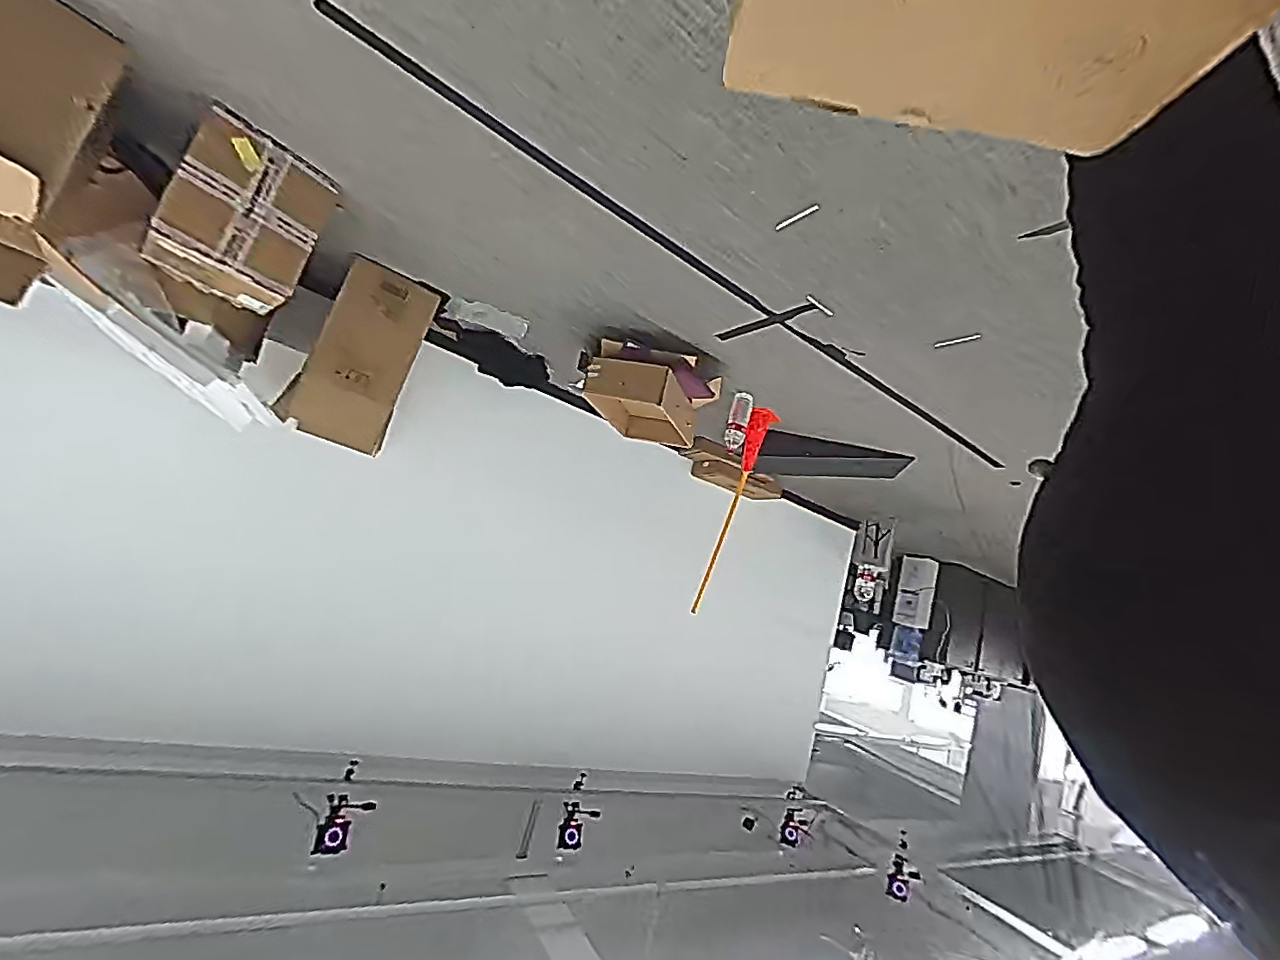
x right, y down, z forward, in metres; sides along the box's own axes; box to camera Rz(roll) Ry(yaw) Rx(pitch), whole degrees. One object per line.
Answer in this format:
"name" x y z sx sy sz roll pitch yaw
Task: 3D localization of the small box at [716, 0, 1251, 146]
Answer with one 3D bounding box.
"small box" 0.128 -0.248 0.160 0.168 0.176 0.179 9 173 0
